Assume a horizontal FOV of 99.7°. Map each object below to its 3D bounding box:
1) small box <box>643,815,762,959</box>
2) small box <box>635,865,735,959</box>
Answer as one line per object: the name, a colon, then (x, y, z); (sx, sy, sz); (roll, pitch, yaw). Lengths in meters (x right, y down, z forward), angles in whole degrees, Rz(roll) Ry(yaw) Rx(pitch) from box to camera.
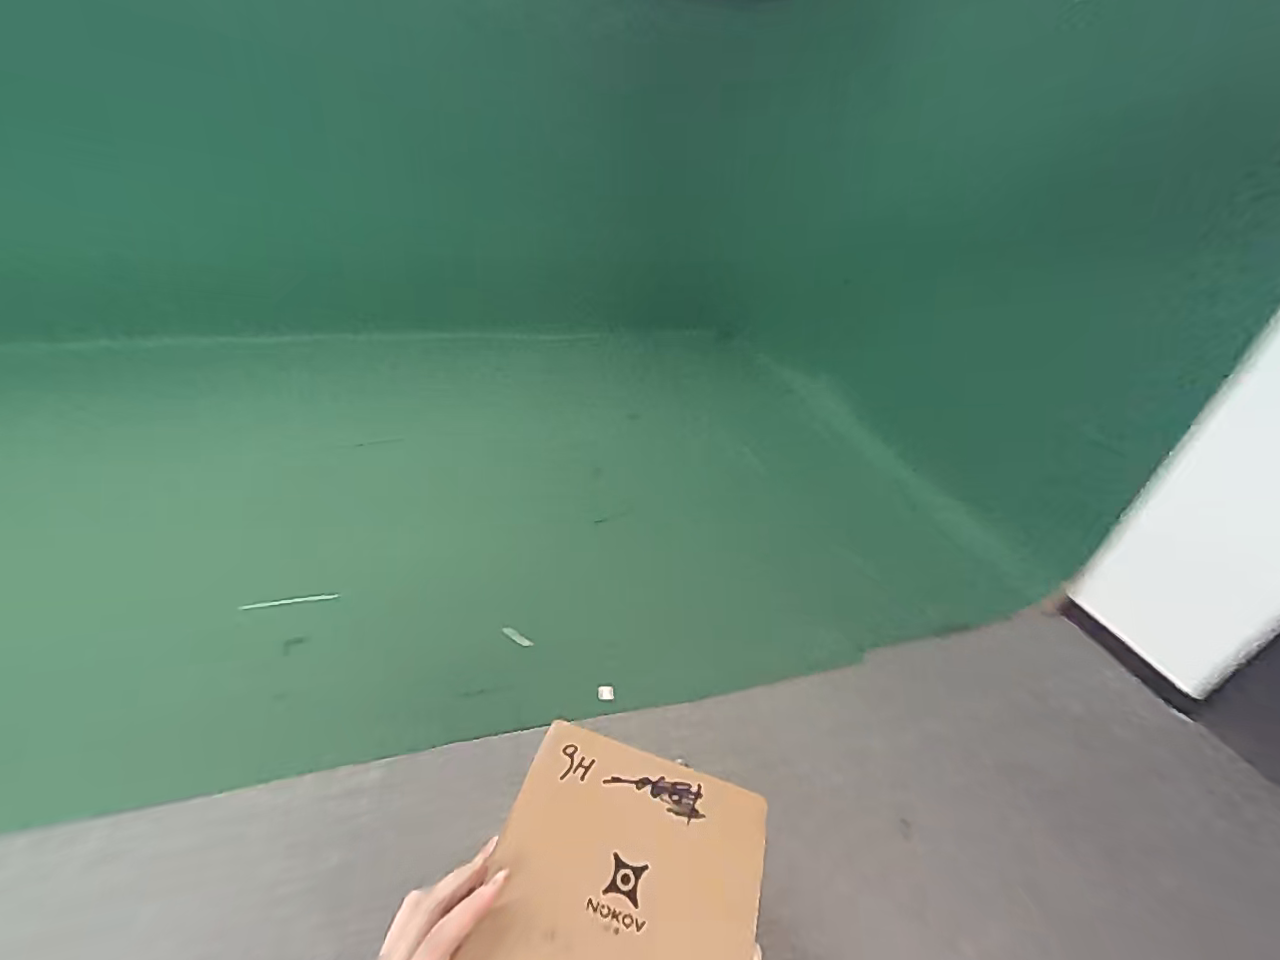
small box: (0.116, 0.819, 1.089); (0.179, 0.176, 0.168); (-5, 34, -17)
small box: (0.099, 0.944, 1.187); (0.179, 0.176, 0.168); (-8, 37, -17)
